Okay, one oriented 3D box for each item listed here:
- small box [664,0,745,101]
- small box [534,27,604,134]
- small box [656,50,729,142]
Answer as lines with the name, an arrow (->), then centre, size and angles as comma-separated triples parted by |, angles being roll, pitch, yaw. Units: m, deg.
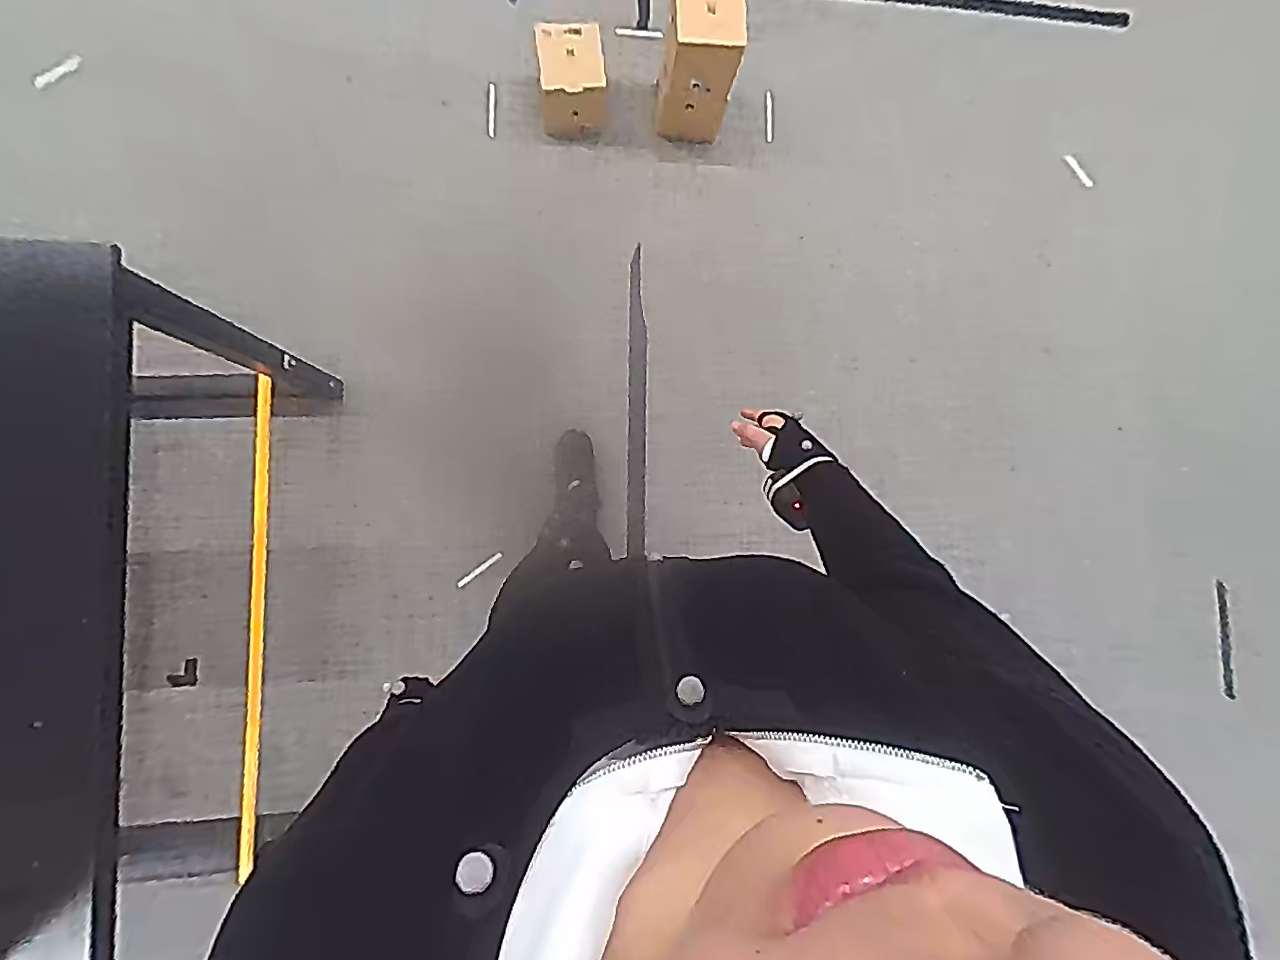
small box -> 0.153, -1.079, 1.328 | 0.168, 0.176, 0.179 | -2, 89, -5
small box -> -0.188, -1.061, 1.451 | 0.168, 0.176, 0.179 | -7, 88, -6
small box -> 0.140, -1.070, 1.490 | 0.179, 0.176, 0.168 | 3, 87, -7
